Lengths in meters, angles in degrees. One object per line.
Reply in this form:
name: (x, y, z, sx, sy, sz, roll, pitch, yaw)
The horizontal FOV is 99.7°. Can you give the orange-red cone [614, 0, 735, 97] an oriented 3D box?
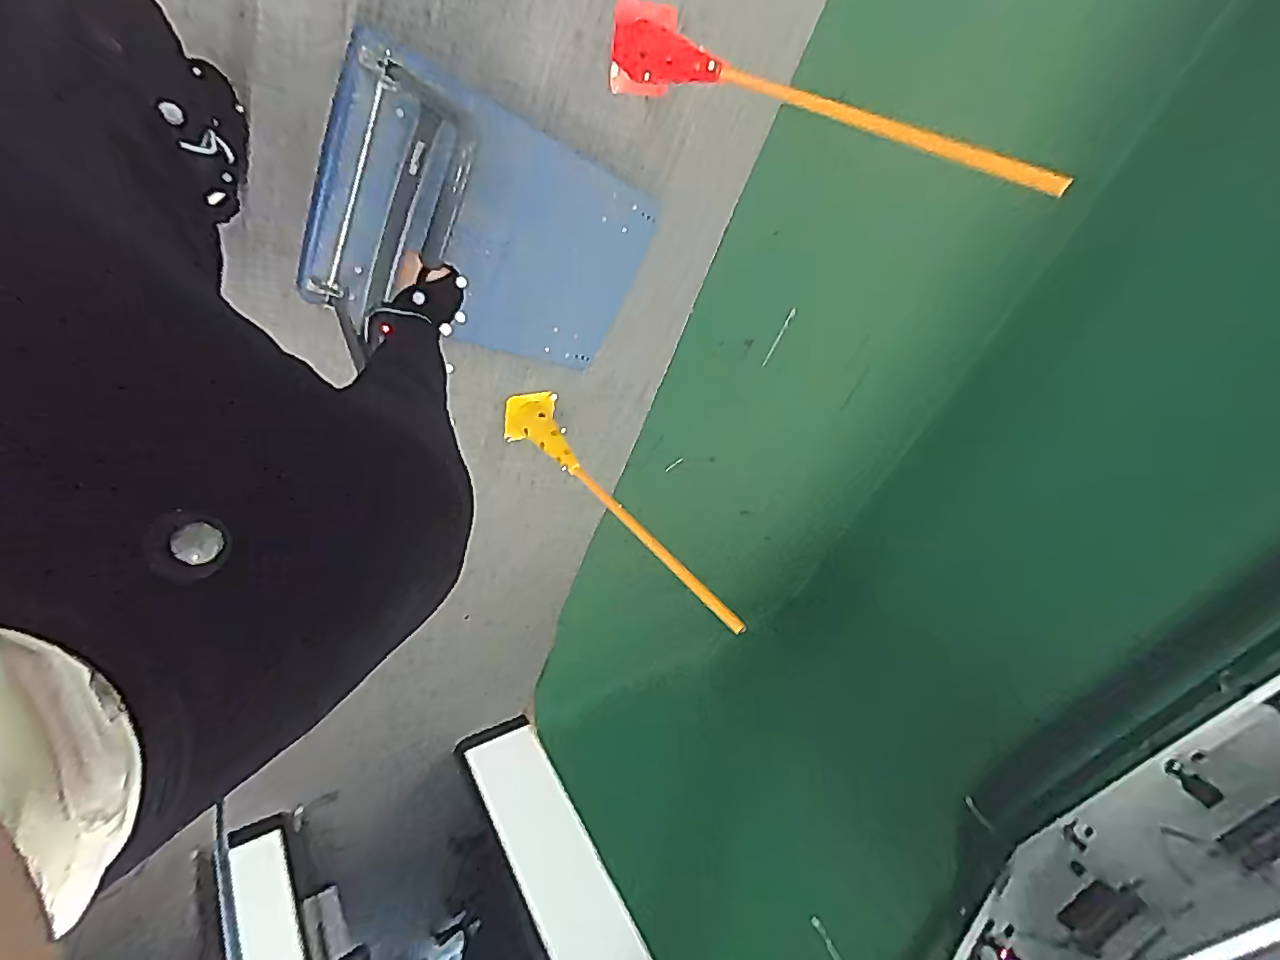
orange-red cone: (0.114, -1.083, 1.392, 0.198, 0.360, 0.199, -18, 137, -31)
